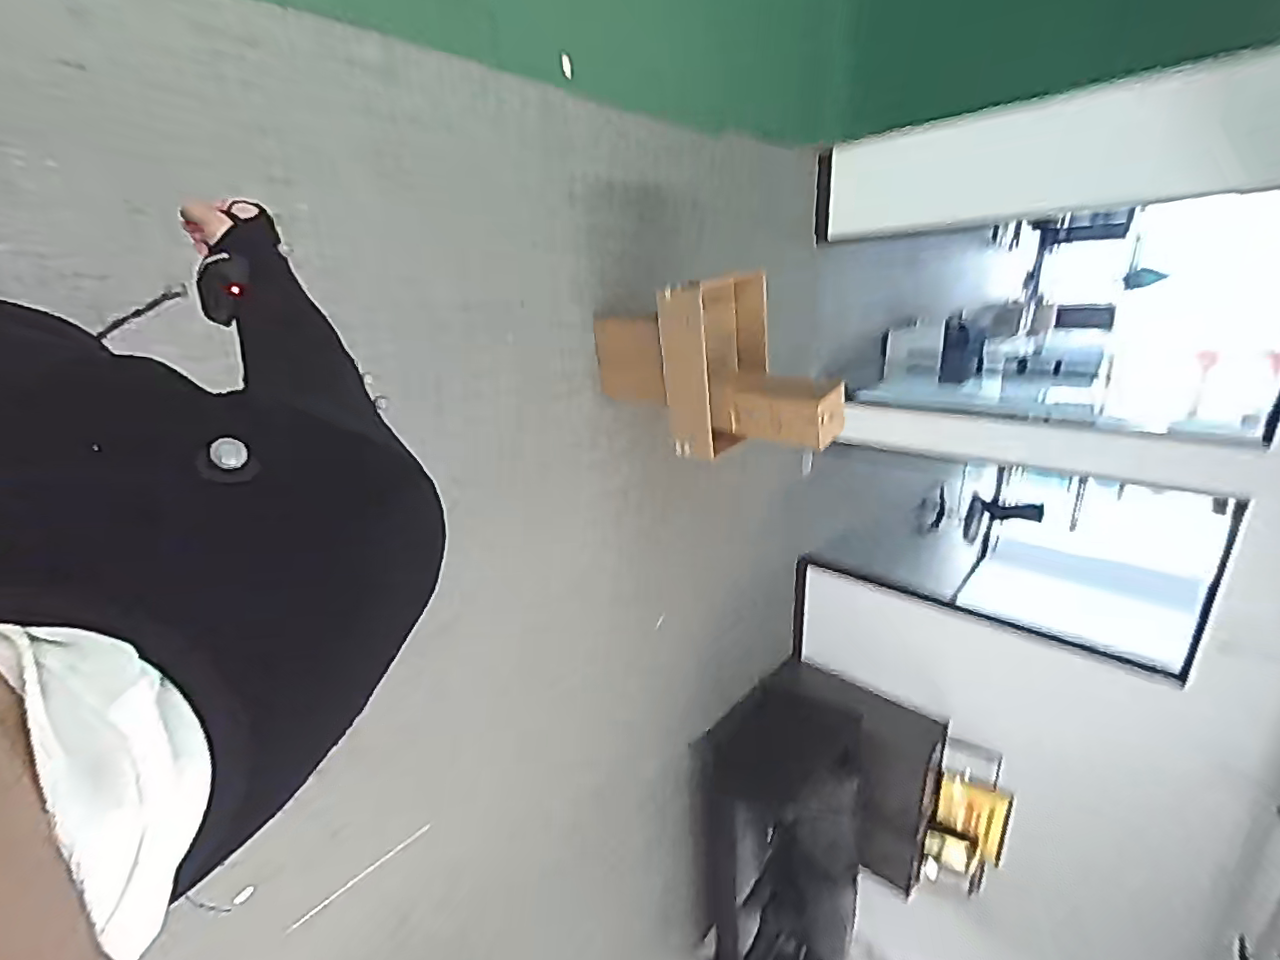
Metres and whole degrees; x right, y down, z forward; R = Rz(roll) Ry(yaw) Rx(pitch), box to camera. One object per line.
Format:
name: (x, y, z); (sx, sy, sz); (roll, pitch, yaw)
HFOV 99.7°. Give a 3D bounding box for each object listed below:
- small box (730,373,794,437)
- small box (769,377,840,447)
small box: (0.432, -0.270, 1.913); (0.179, 0.176, 0.168); (-36, 127, -35)
small box: (0.549, -0.233, 1.805); (0.179, 0.176, 0.168); (-39, 128, -34)
